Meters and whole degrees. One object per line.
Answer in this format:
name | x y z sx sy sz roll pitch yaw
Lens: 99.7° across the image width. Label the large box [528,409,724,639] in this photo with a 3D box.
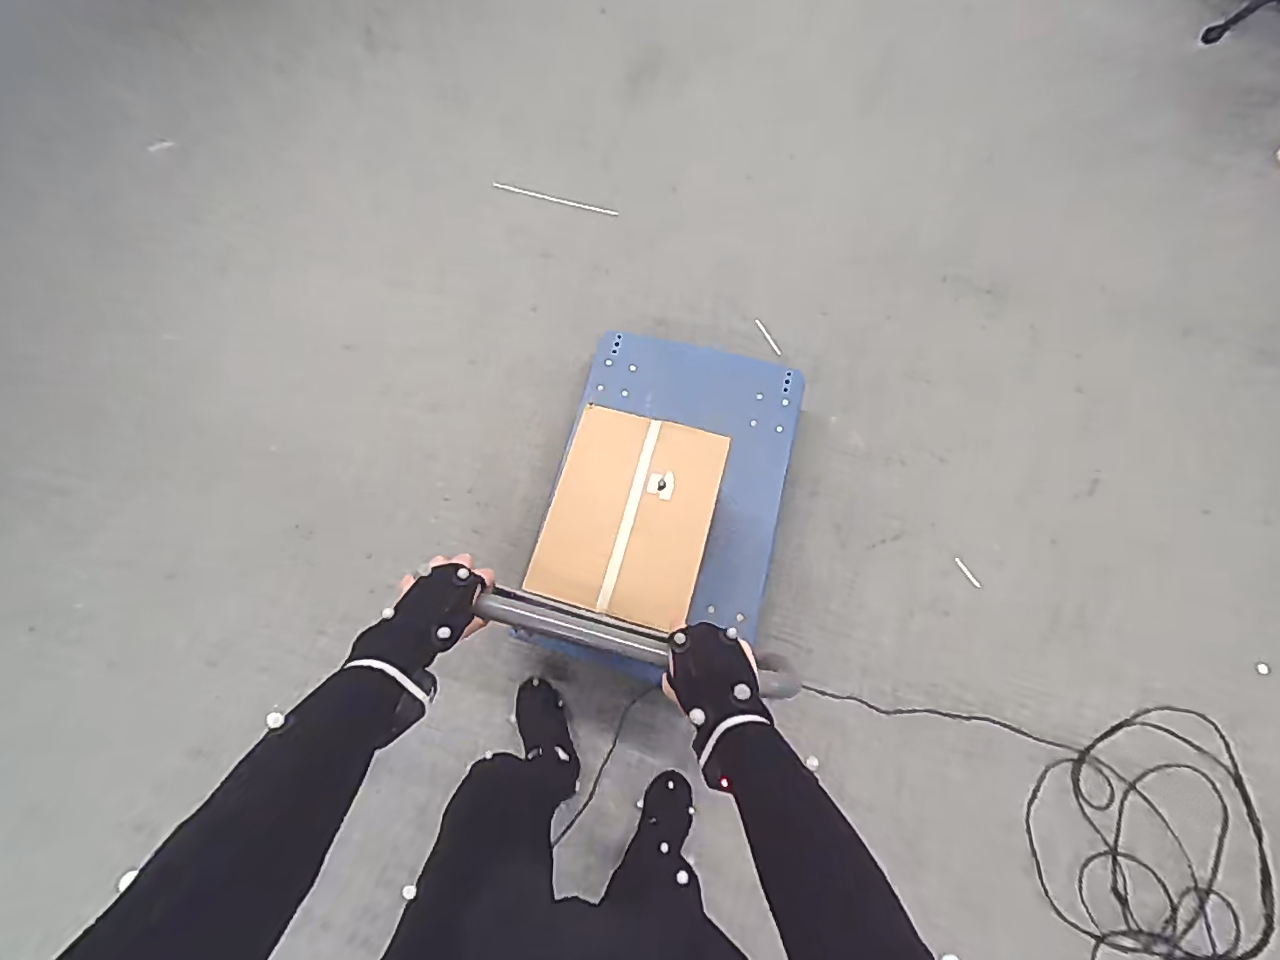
large box | -0.015 0.114 1.219 0.320 0.320 0.408 15 71 7
